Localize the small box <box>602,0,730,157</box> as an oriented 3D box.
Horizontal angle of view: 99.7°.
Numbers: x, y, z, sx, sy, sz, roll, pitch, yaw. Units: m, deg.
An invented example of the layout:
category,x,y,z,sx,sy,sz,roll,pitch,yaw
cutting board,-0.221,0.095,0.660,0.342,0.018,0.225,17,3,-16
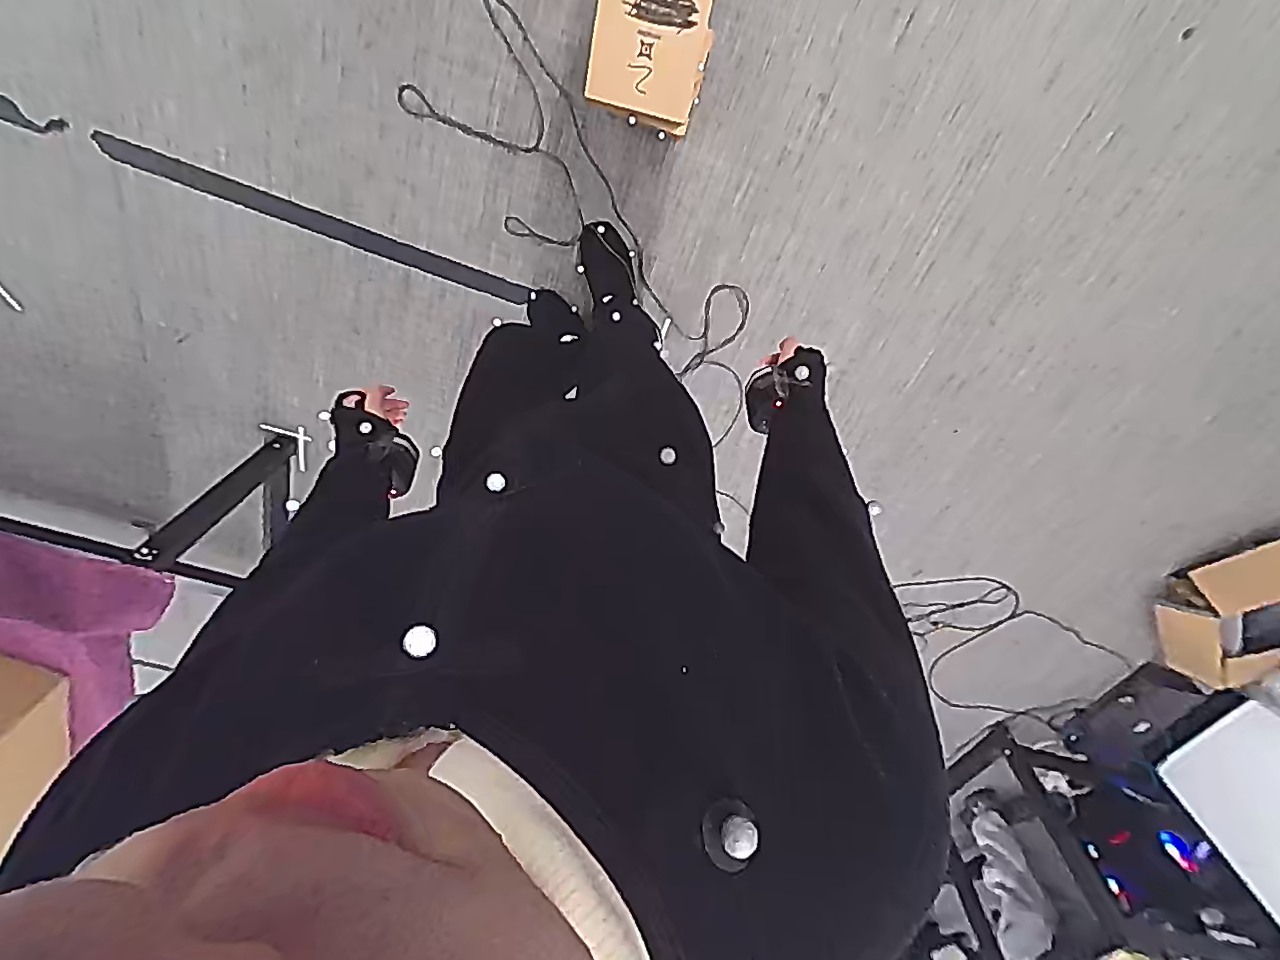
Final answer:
category,x,y,z,sx,sy,sz,roll,pitch,yaw
small box,0.042,-0.735,1.000,0.168,0.176,0.179,5,105,-24
